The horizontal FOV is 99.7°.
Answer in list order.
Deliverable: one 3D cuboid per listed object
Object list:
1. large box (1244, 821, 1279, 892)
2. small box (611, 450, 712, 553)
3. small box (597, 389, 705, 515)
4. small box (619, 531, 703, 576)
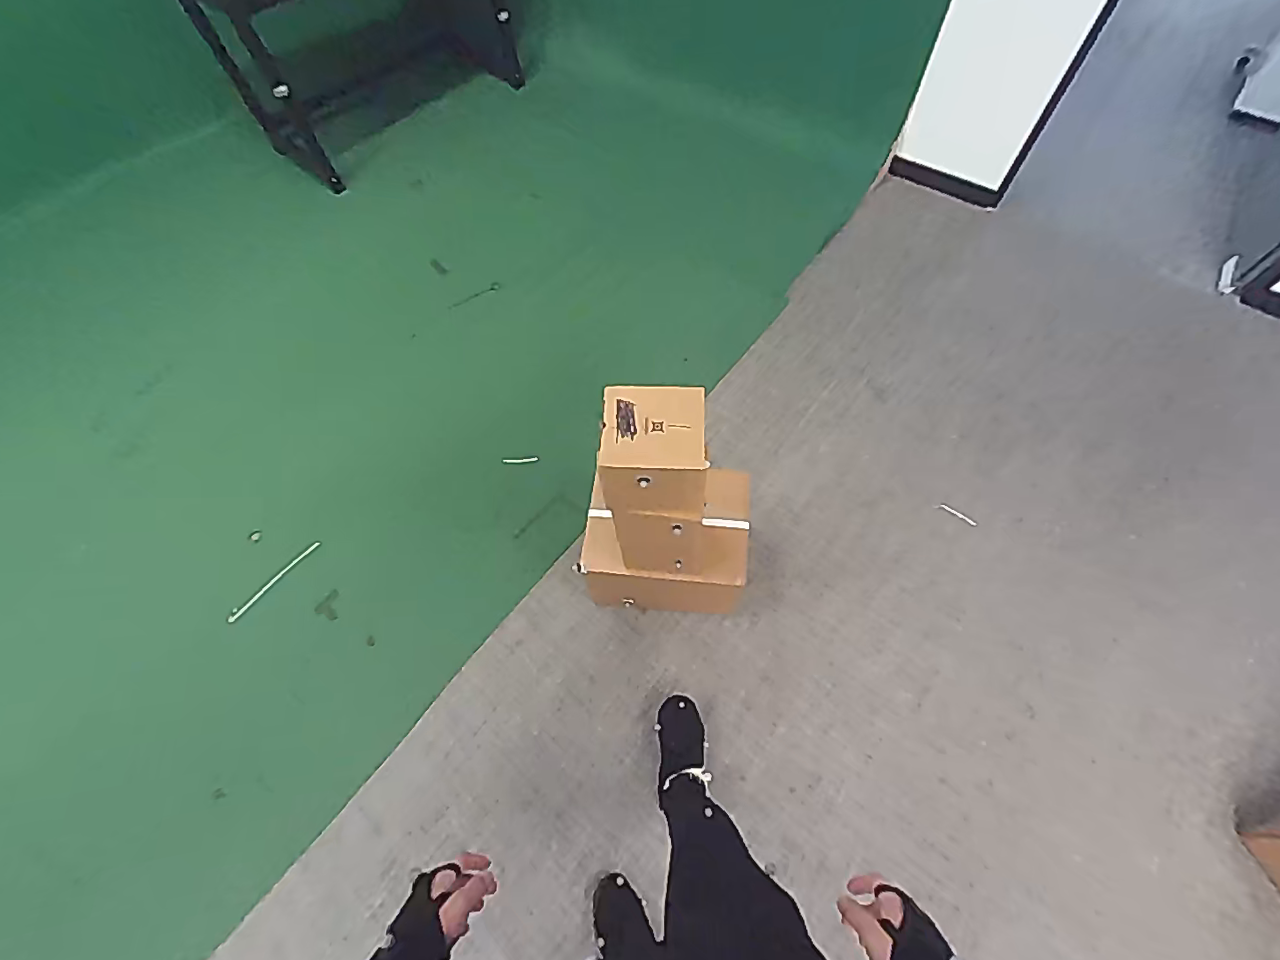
[{"bbox_3d":[1.595,0.877,1.051,0.320,0.320,0.408,-19,62,-8],"label":"large box"},{"bbox_3d":[0.046,0.040,1.104,0.179,0.176,0.168,7,62,6],"label":"small box"},{"bbox_3d":[0.025,-0.046,0.965,0.179,0.176,0.168,2,62,3],"label":"small box"},{"bbox_3d":[0.054,0.116,1.250,0.179,0.176,0.168,4,62,6],"label":"small box"}]
